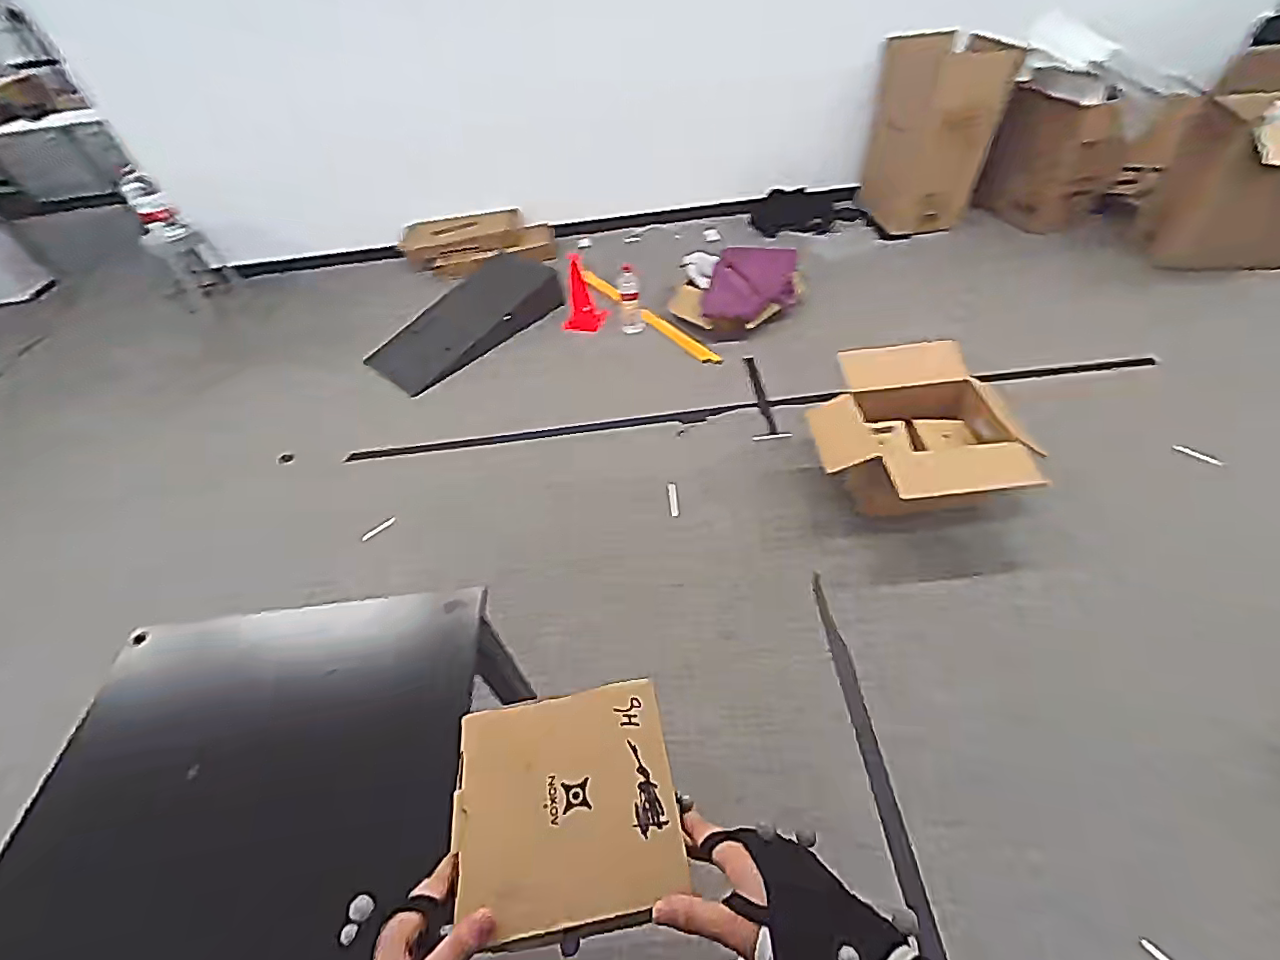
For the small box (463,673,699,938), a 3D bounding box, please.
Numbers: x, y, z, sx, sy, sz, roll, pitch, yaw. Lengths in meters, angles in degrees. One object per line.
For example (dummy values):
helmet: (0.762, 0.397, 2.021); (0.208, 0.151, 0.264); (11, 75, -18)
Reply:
small box: (-0.047, 0.306, 0.504); (0.179, 0.176, 0.168); (-10, 48, -2)
